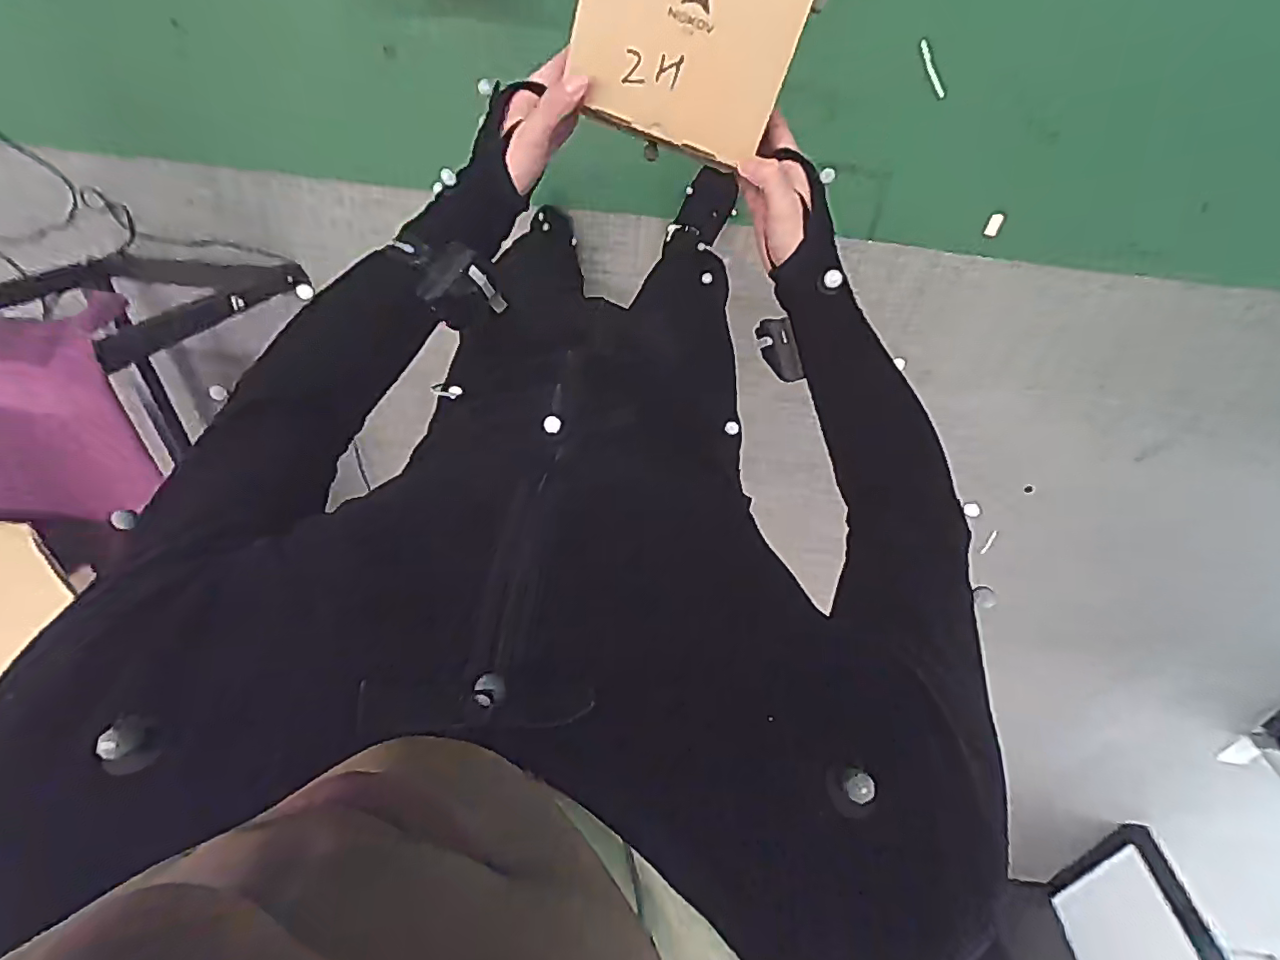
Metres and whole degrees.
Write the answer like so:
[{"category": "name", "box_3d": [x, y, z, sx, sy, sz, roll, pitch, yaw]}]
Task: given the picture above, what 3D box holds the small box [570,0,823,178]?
[{"category": "small box", "box_3d": [0.047, -0.386, 0.472, 0.168, 0.176, 0.179, 16, 119, -8]}]
